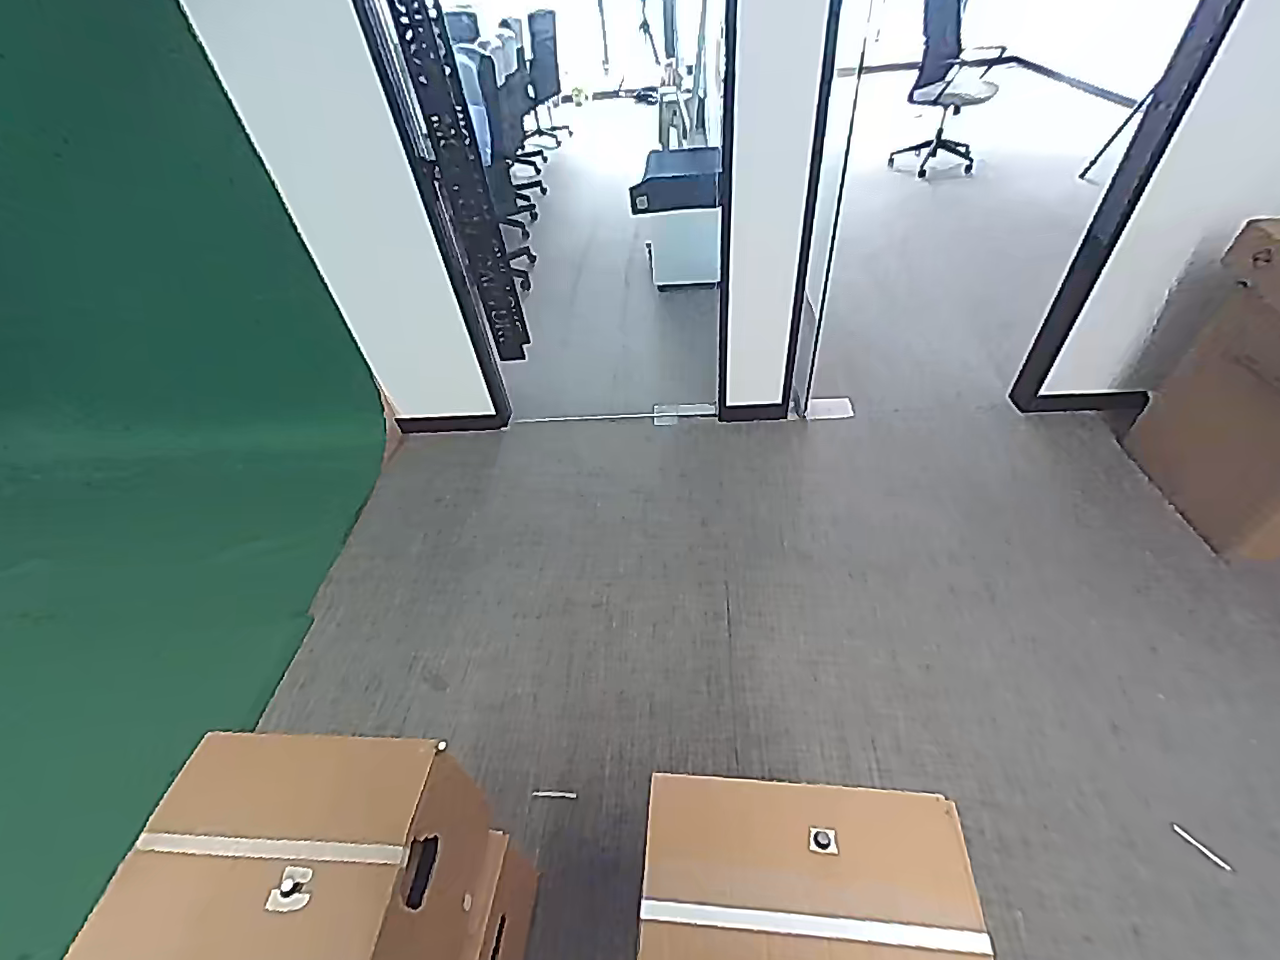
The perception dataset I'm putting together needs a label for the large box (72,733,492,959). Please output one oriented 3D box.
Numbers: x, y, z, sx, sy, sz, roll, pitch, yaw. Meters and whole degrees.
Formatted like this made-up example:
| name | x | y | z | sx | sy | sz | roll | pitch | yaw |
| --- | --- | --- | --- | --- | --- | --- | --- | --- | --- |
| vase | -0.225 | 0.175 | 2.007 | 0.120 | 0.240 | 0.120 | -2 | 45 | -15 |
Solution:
| name | x | y | z | sx | sy | sz | roll | pitch | yaw |
| --- | --- | --- | --- | --- | --- | --- | --- | --- | --- |
| large box | -0.502 | 0.630 | 0.859 | 0.408 | 0.320 | 0.320 | 0 | 42 | 6 |
